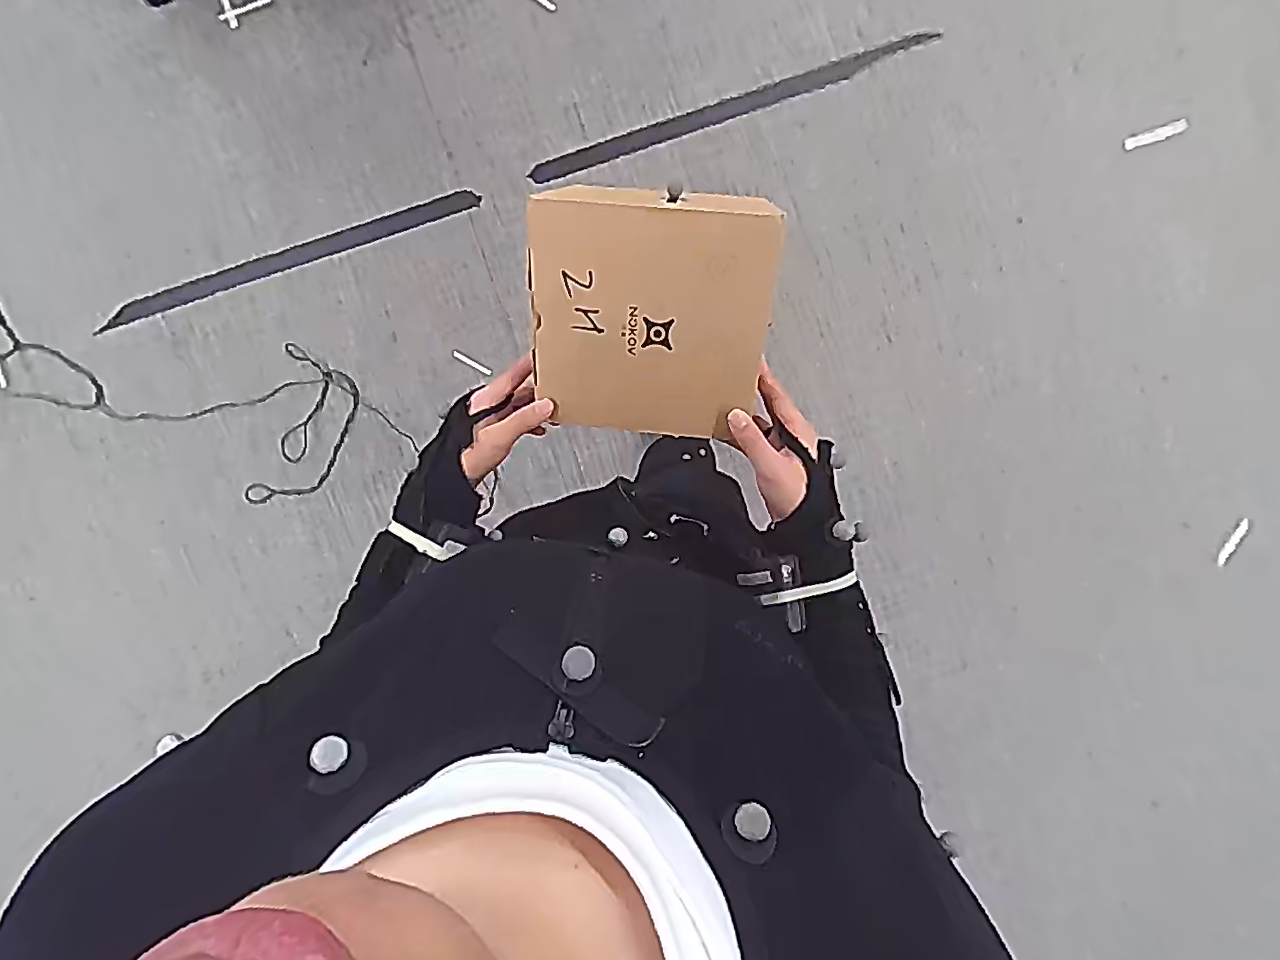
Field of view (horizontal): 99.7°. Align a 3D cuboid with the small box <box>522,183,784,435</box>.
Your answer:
[{"bbox_3d":[0.011,-0.154,0.461,0.179,0.176,0.168,6,121,4],"label":"small box"}]
